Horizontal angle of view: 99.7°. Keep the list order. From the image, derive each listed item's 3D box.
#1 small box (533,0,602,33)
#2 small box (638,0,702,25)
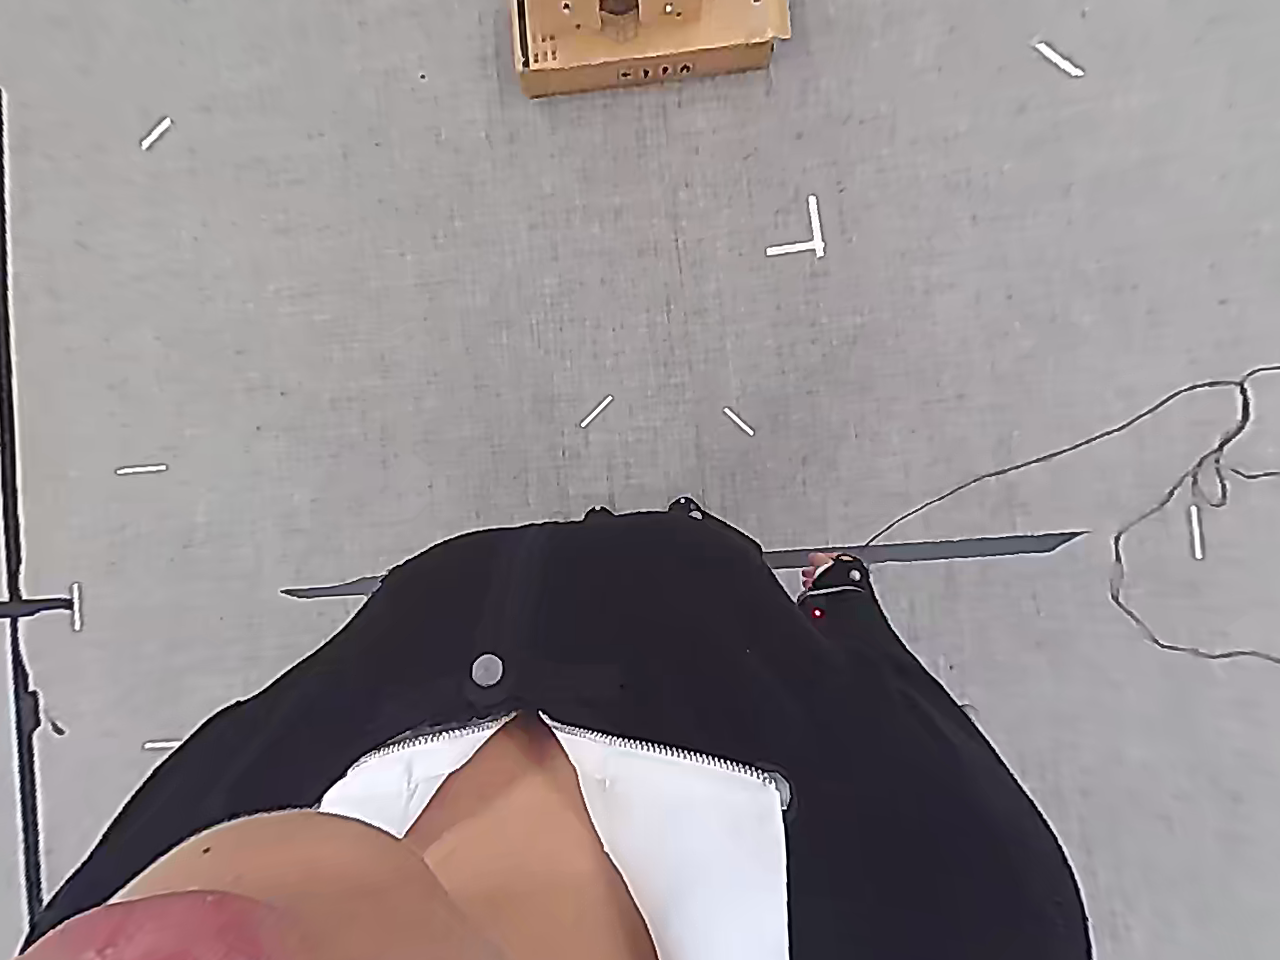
[{"bbox_3d":[-0.193,-1.288,1.379,0.168,0.176,0.179,-5,89,3],"label":"small box"},{"bbox_3d":[0.076,-1.309,1.367,0.168,0.176,0.179,-1,88,4],"label":"small box"}]
